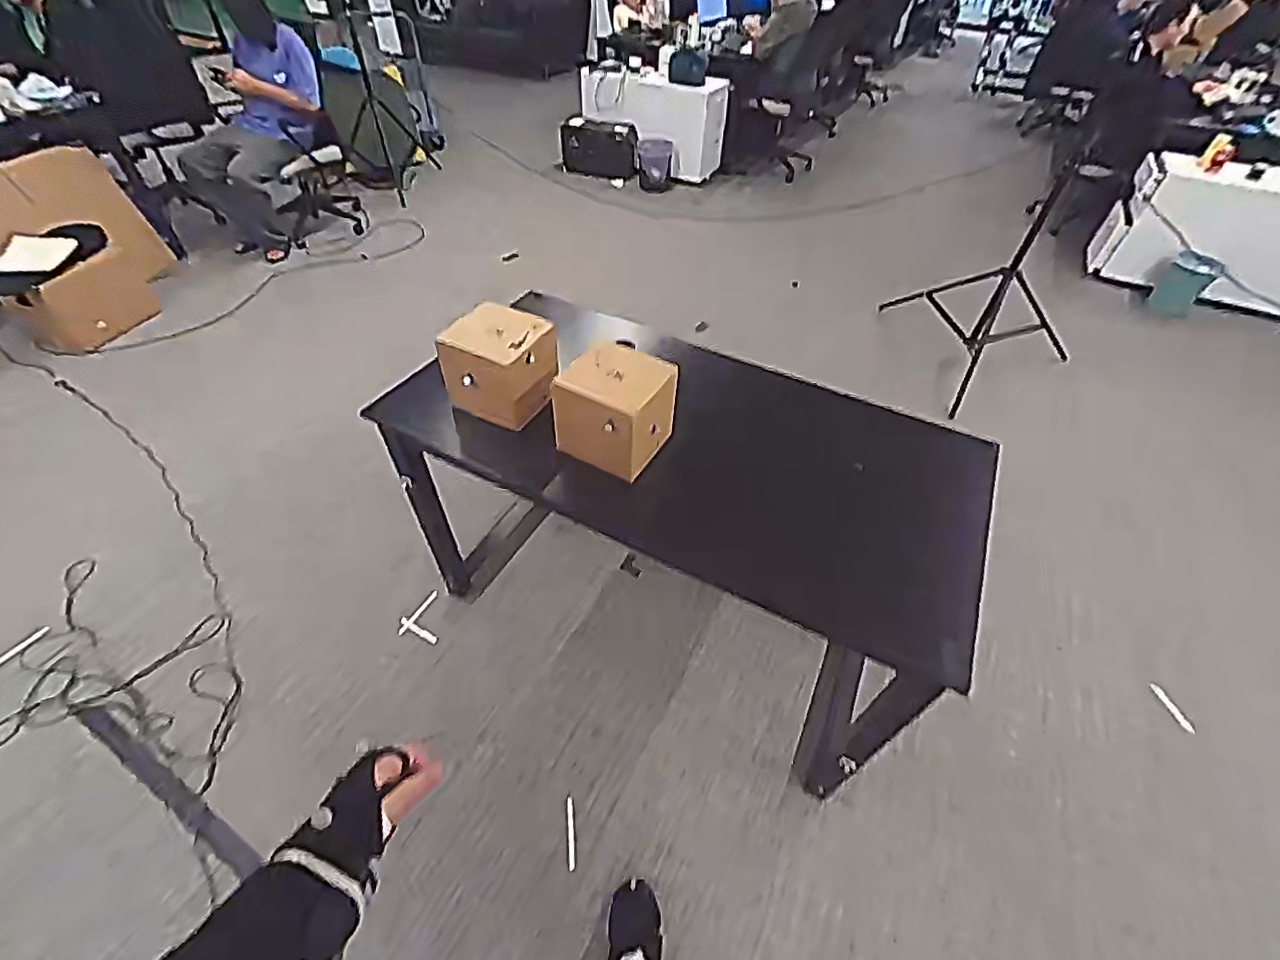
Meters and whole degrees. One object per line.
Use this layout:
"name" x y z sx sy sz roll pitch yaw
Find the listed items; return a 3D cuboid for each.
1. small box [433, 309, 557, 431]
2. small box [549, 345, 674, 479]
"small box" -0.292 -0.227 1.125 0.179 0.176 0.168 21 50 17
"small box" -0.052 -0.127 1.041 0.179 0.176 0.168 24 49 18
